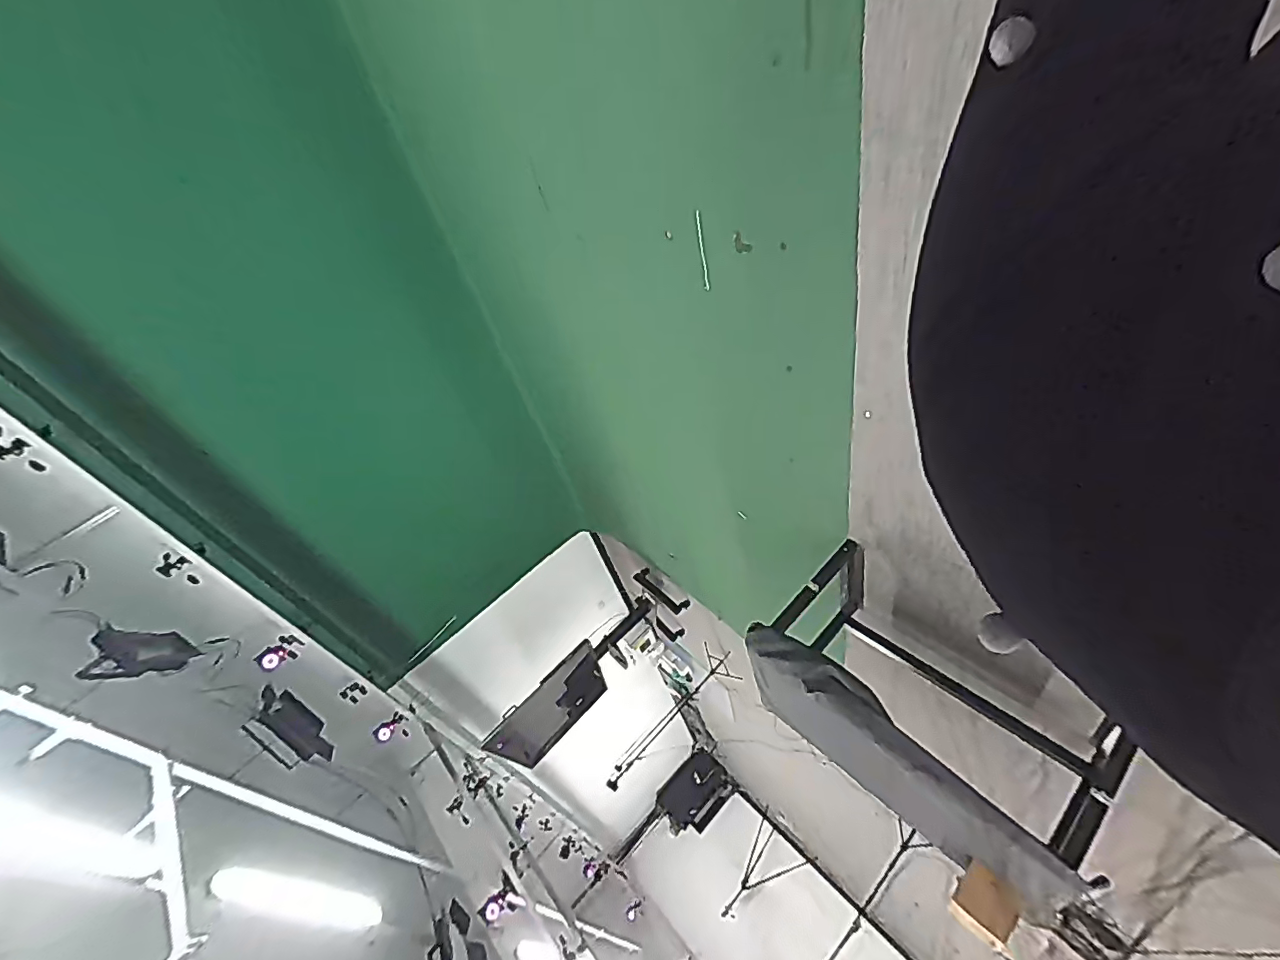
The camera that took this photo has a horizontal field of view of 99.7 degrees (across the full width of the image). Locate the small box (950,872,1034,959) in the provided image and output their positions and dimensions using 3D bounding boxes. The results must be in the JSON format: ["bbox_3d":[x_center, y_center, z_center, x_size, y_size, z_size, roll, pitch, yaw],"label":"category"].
[{"bbox_3d":[1.212,1.497,1.866,0.179,0.176,0.168,31,151,42],"label":"small box"}]
